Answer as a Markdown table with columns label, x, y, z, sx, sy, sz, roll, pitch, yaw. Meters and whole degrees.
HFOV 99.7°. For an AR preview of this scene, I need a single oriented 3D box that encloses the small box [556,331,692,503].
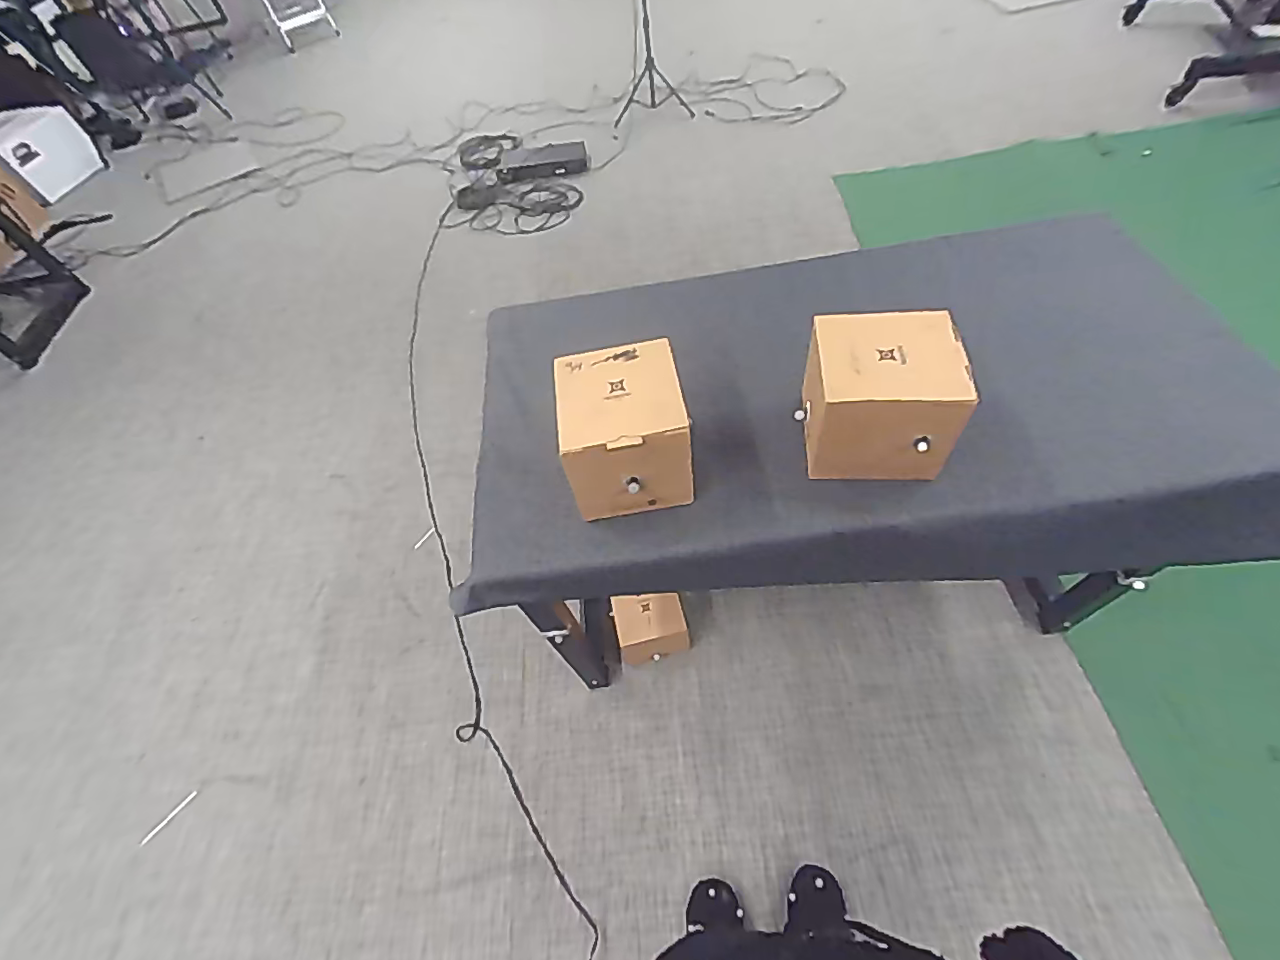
| label | x | y | z | sx | sy | sz | roll | pitch | yaw |
| --- | --- | --- | --- | --- | --- | --- | --- | --- | --- |
| small box | -0.020 | -0.081 | 0.780 | 0.168 | 0.176 | 0.179 | -10 | 55 | 1 |

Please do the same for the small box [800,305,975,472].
| label | x | y | z | sx | sy | sz | roll | pitch | yaw |
| --- | --- | --- | --- | --- | --- | --- | --- | --- | --- |
| small box | 0.330 | -0.123 | 0.763 | 0.179 | 0.176 | 0.168 | 0 | 55 | 9 |

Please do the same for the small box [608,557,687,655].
| label | x | y | z | sx | sy | sz | roll | pitch | yaw |
| --- | --- | --- | --- | --- | --- | --- | --- | --- | --- |
| small box | 0.021 | 0.325 | 1.387 | 0.168 | 0.176 | 0.179 | -14 | 57 | -1 |
